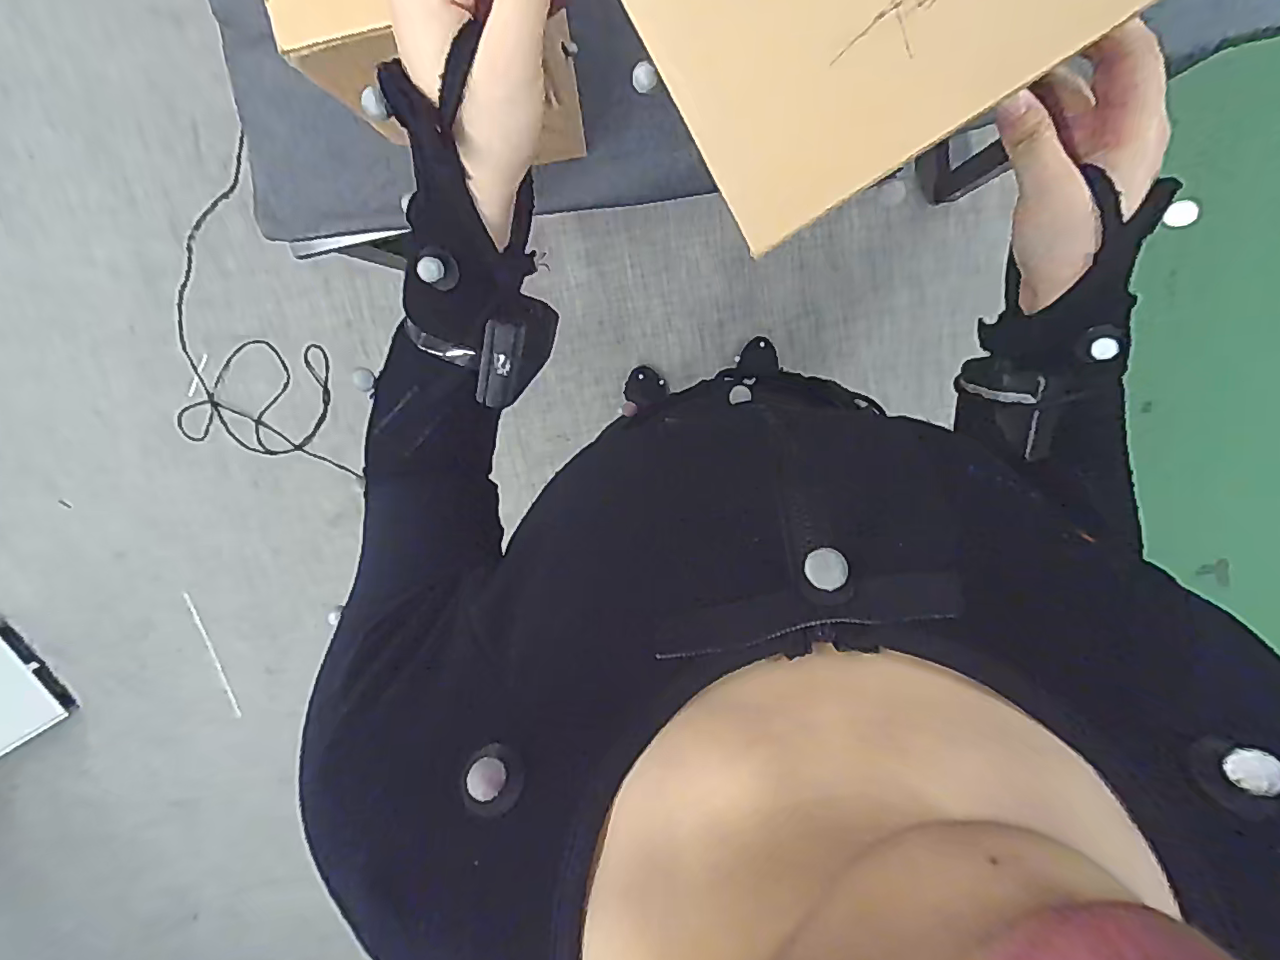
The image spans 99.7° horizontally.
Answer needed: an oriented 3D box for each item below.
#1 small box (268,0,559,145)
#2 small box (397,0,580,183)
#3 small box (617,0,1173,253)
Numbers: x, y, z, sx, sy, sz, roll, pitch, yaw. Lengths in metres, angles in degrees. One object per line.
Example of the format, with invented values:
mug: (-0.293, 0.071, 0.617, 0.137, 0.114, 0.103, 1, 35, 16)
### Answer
small box: (-0.170, -0.396, 0.428, 0.179, 0.176, 0.168, -8, 103, 7)
small box: (-0.167, -0.444, 0.584, 0.179, 0.176, 0.168, -7, 102, 6)
small box: (0.088, -0.227, 0.243, 0.168, 0.176, 0.179, -26, 105, 26)
